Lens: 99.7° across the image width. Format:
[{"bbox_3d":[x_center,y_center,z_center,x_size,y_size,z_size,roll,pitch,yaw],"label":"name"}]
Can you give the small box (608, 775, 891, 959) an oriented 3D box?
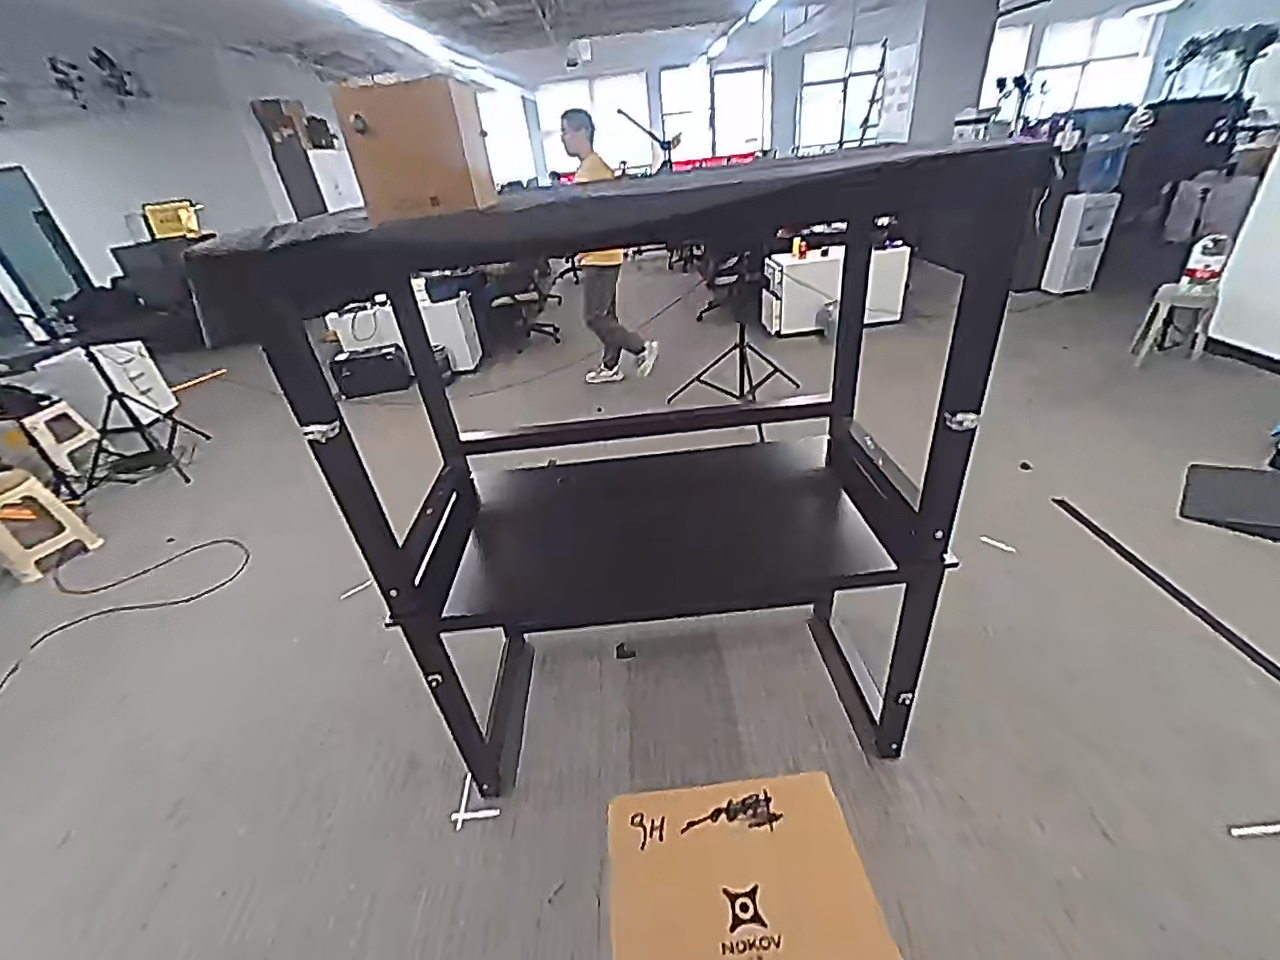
[{"bbox_3d":[0.068,0.342,0.373,0.168,0.176,0.179,-5,31,-3],"label":"small box"}]
